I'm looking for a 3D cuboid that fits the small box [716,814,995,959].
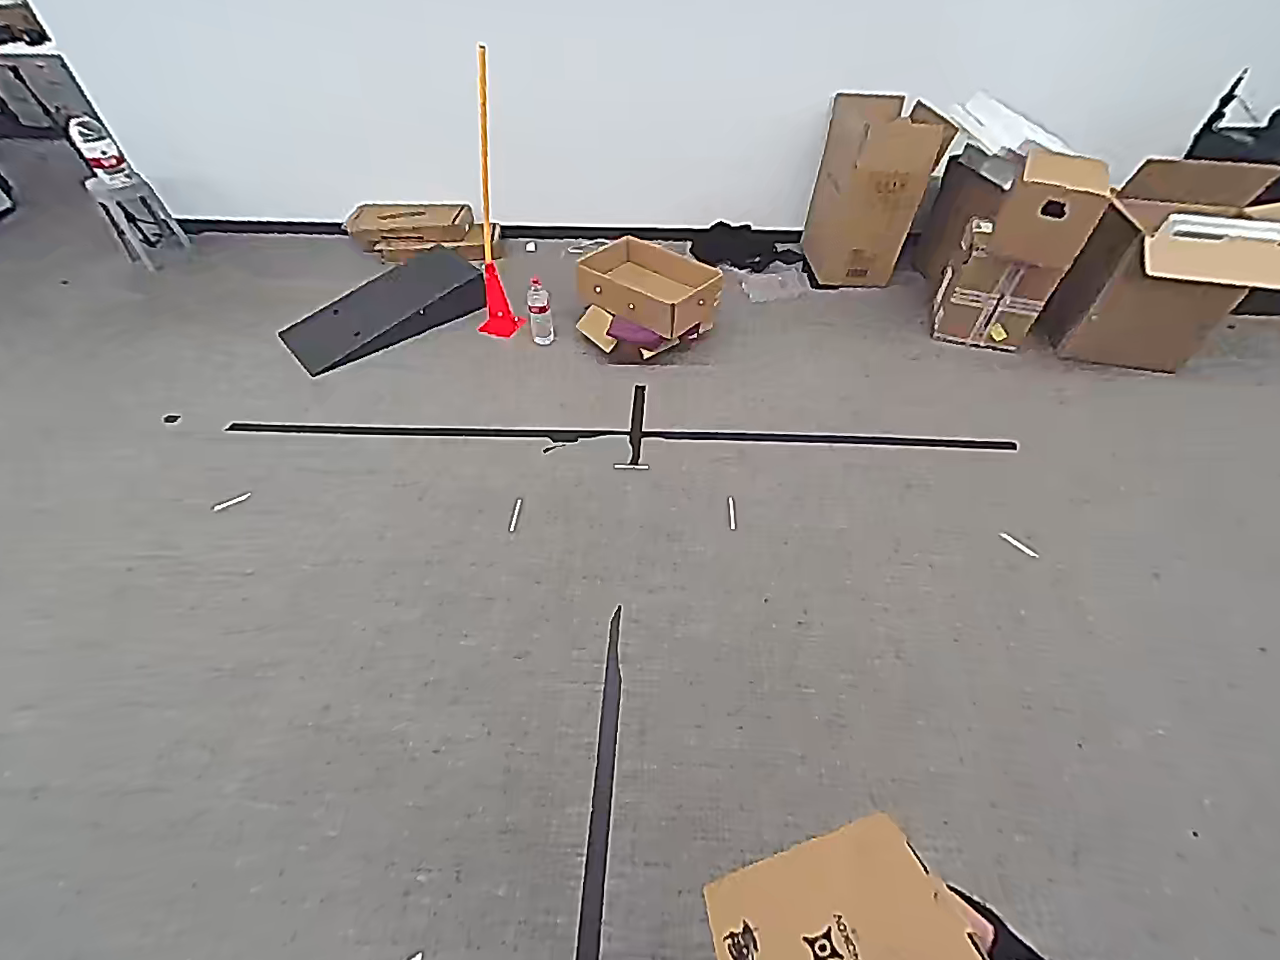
[{"bbox_3d":[0.179,0.412,0.411,0.179,0.176,0.168,-22,10,1],"label":"small box"}]
